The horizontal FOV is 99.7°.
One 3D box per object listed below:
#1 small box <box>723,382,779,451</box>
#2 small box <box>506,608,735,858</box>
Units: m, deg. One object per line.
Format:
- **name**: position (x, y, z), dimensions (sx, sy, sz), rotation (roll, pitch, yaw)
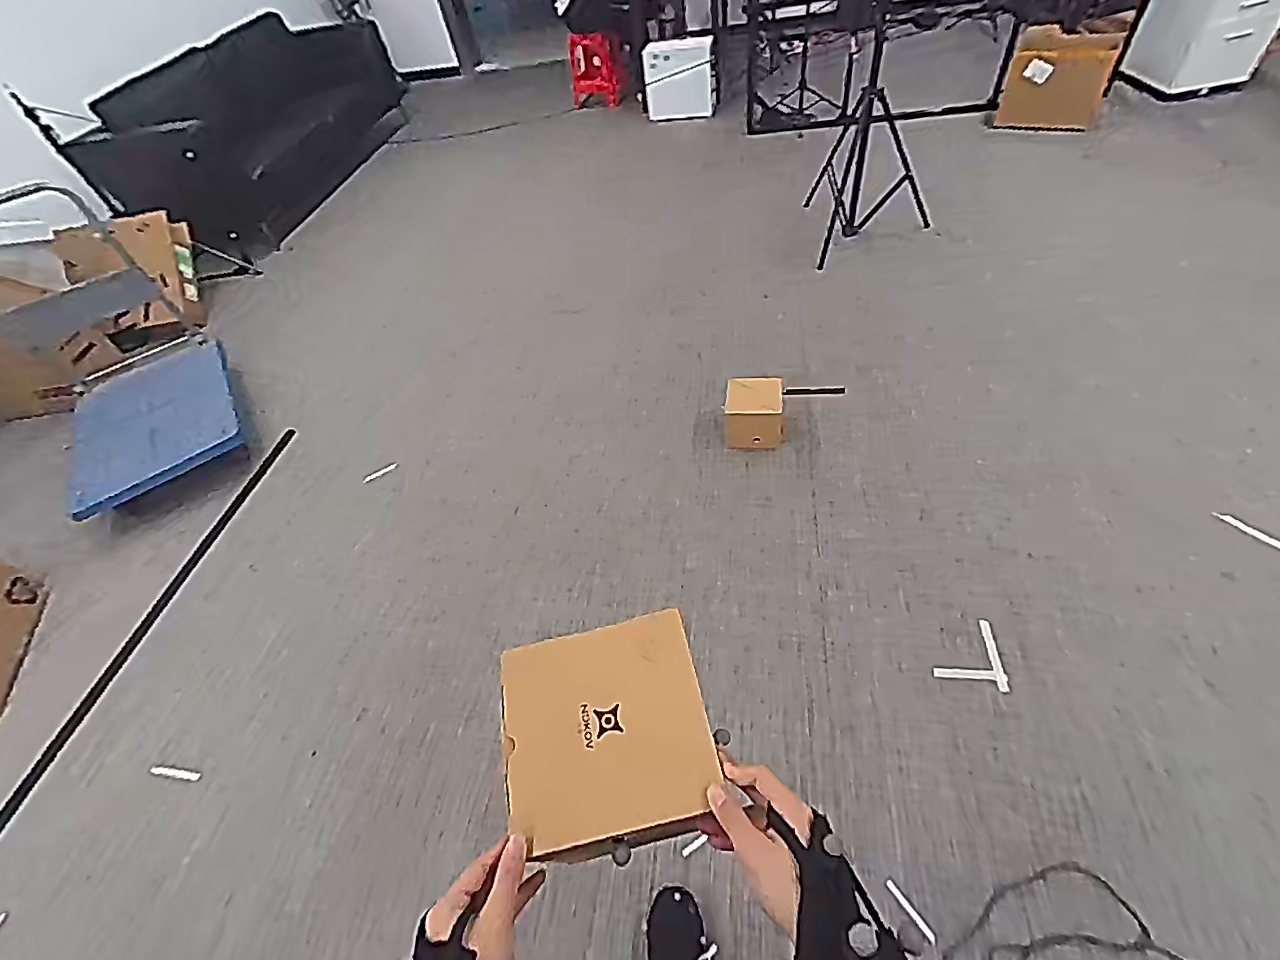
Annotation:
- **small box**: position (0.369, -0.213, 1.798), dimensions (0.179, 0.176, 0.168), rotation (2, 51, 11)
- **small box**: position (-0.015, 0.247, 0.521), dimensions (0.179, 0.176, 0.168), rotation (-15, 53, 1)
